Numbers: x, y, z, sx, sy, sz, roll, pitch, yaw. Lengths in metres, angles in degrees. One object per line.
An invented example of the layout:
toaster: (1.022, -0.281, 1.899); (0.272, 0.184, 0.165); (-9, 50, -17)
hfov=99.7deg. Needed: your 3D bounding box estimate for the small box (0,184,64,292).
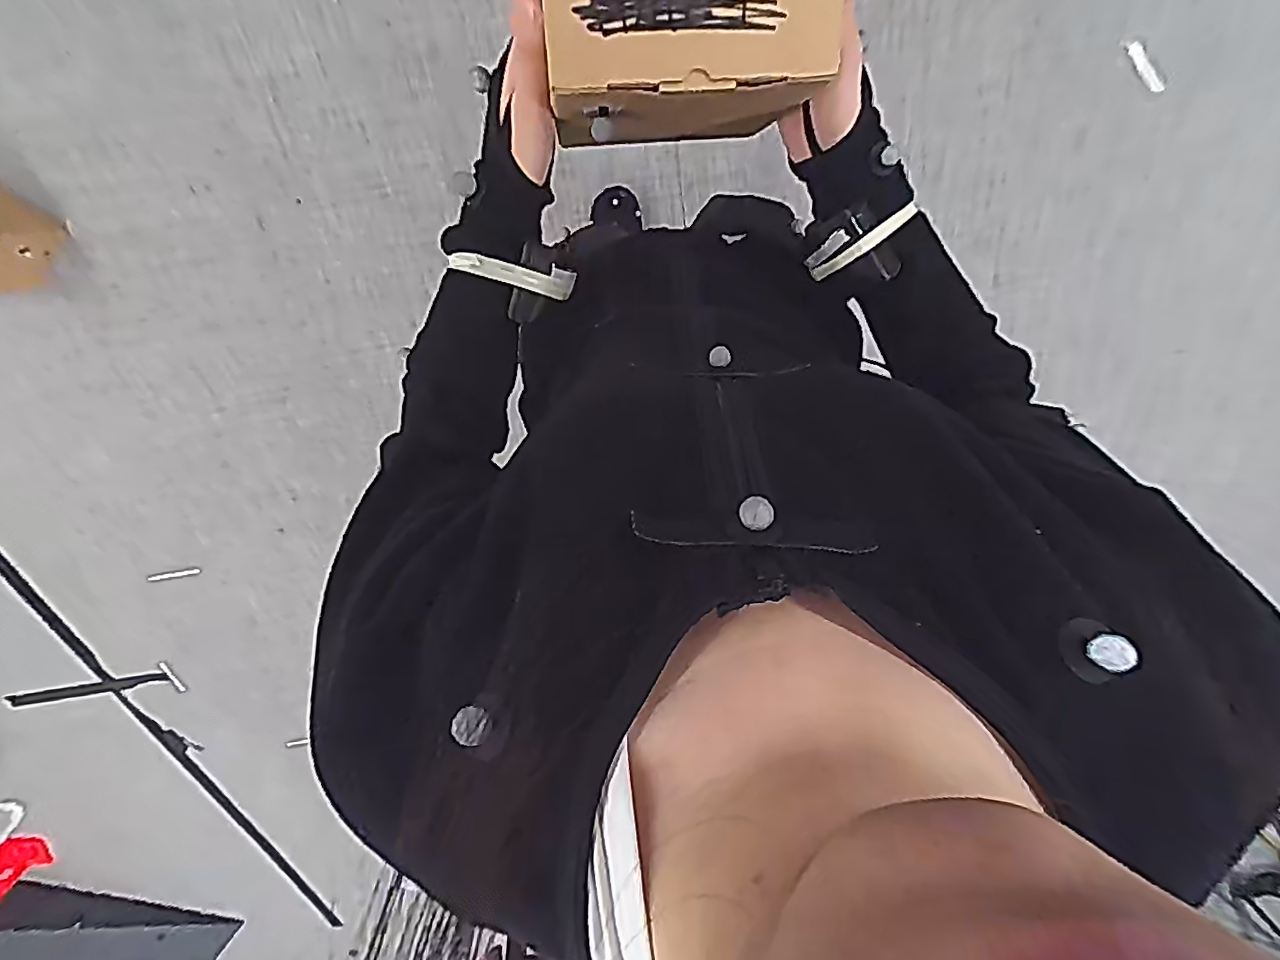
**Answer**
small box: (-1.355, -0.503, 1.098); (0.179, 0.176, 0.168); (39, 107, -22)
